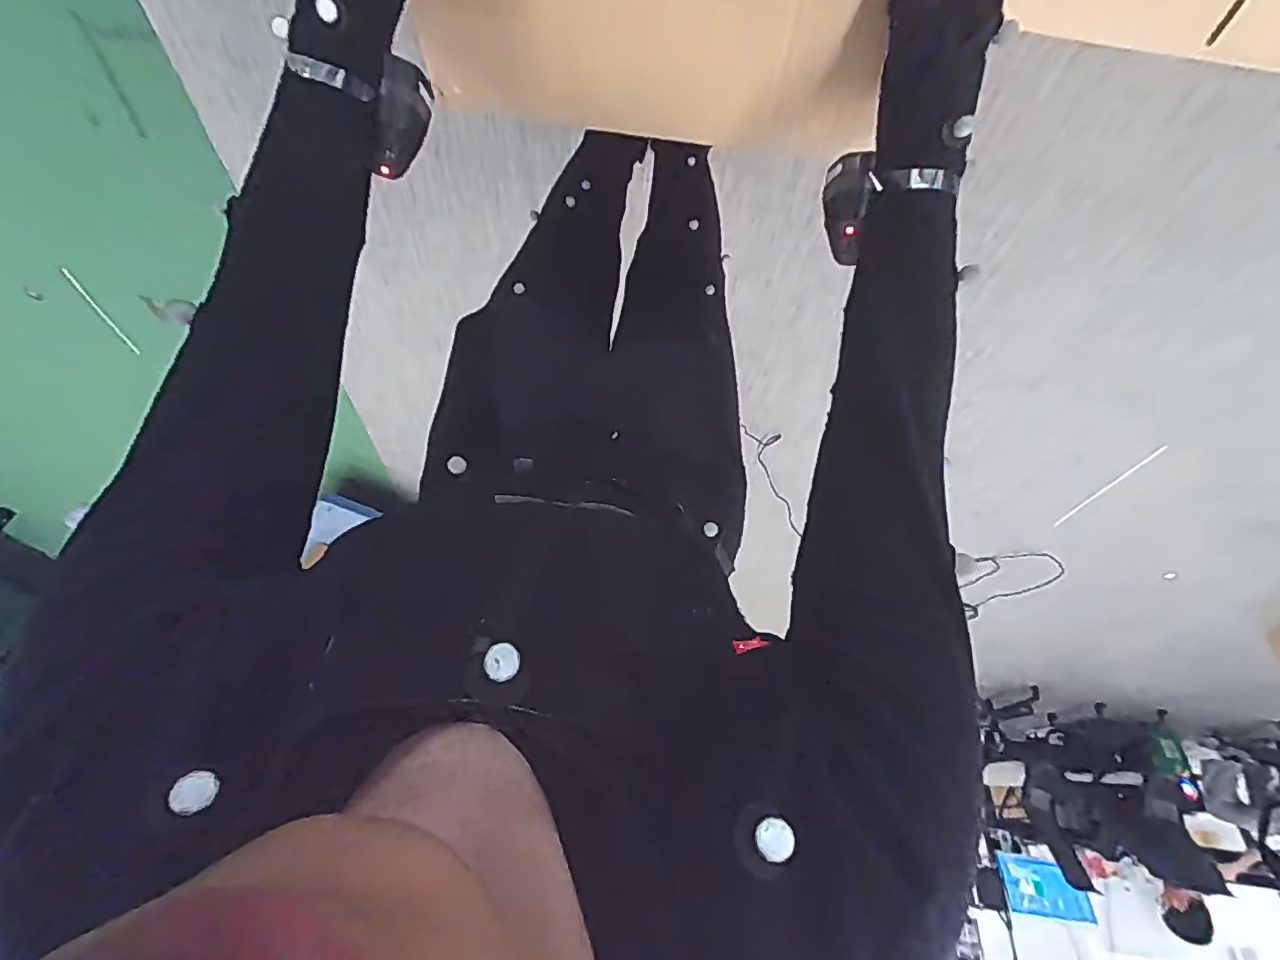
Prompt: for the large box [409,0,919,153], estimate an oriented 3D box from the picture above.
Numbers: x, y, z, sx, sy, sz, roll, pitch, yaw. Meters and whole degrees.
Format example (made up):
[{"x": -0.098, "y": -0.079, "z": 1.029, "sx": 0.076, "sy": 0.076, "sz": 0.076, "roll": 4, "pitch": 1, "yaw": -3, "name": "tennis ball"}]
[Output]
[{"x": 0.034, "y": -0.528, "z": 0.448, "sx": 0.408, "sy": 0.320, "sz": 0.320, "roll": 8, "pitch": 146, "yaw": 1, "name": "large box"}]
